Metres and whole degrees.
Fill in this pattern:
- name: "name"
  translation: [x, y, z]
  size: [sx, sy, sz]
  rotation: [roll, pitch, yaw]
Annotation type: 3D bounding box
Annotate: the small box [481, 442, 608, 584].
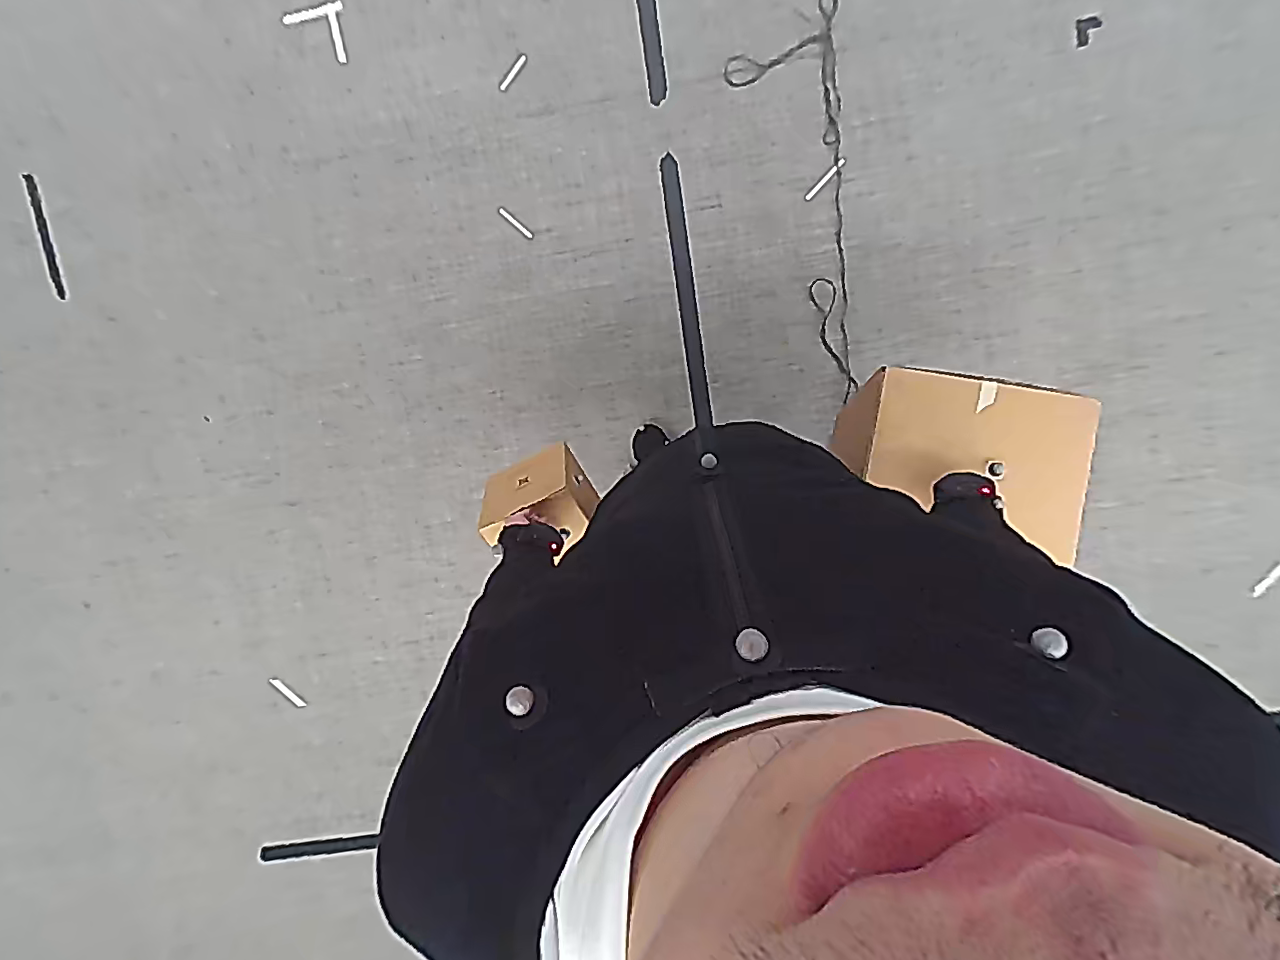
- name: "small box"
  translation: [-0.168, 0.067, 0.990]
  size: [0.168, 0.179, 0.176]
  rotation: [-25, 122, 6]
